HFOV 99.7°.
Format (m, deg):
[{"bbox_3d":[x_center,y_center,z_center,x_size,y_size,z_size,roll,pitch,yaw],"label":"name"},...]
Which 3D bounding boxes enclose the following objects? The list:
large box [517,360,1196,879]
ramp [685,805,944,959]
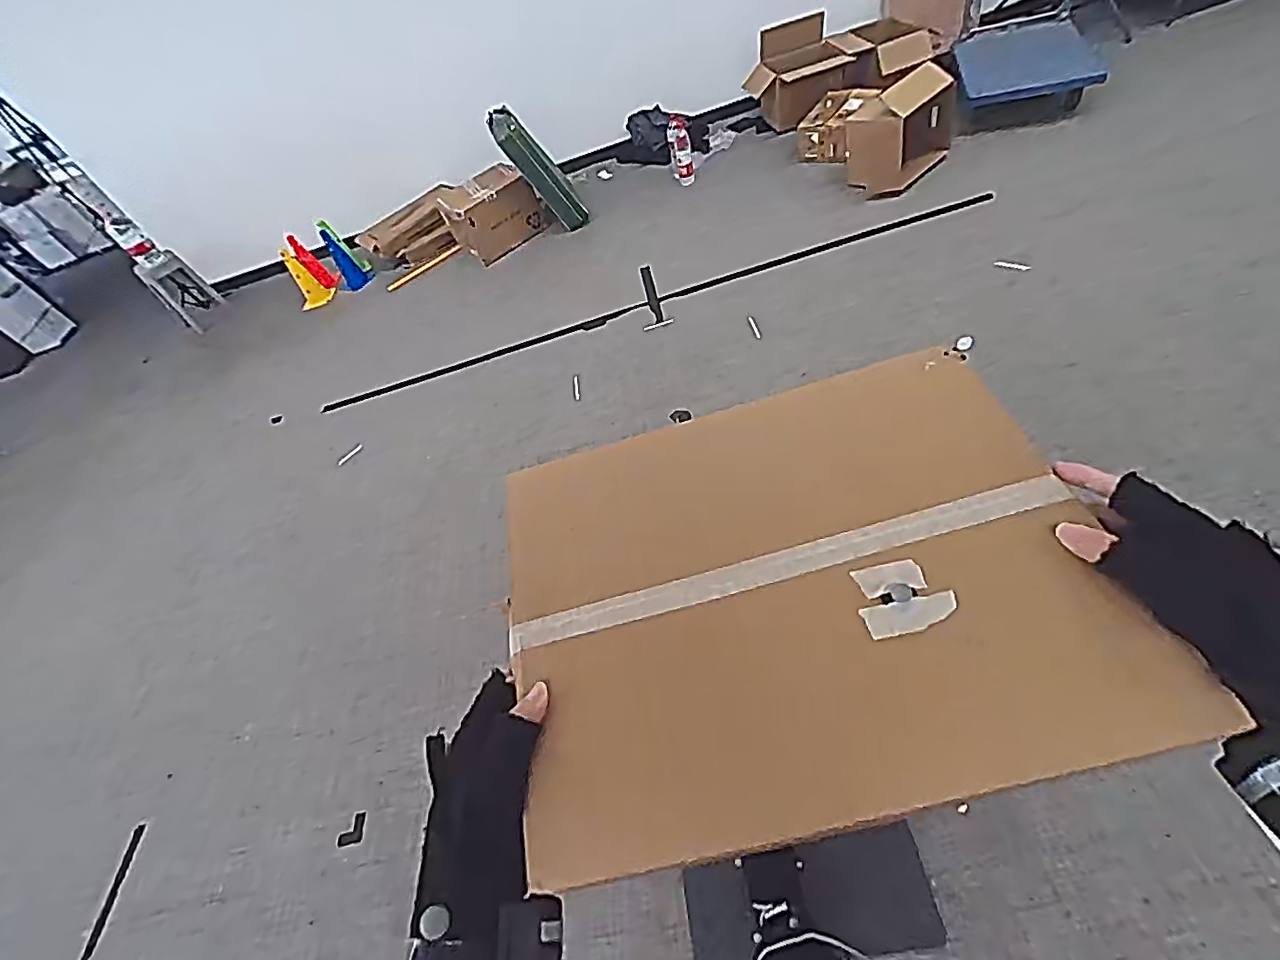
[{"bbox_3d":[0.133,0.150,0.526,0.408,0.320,0.320,-17,55,4],"label":"large box"},{"bbox_3d":[0.287,0.510,1.316,0.509,0.206,0.991,-15,50,6],"label":"ramp"}]
